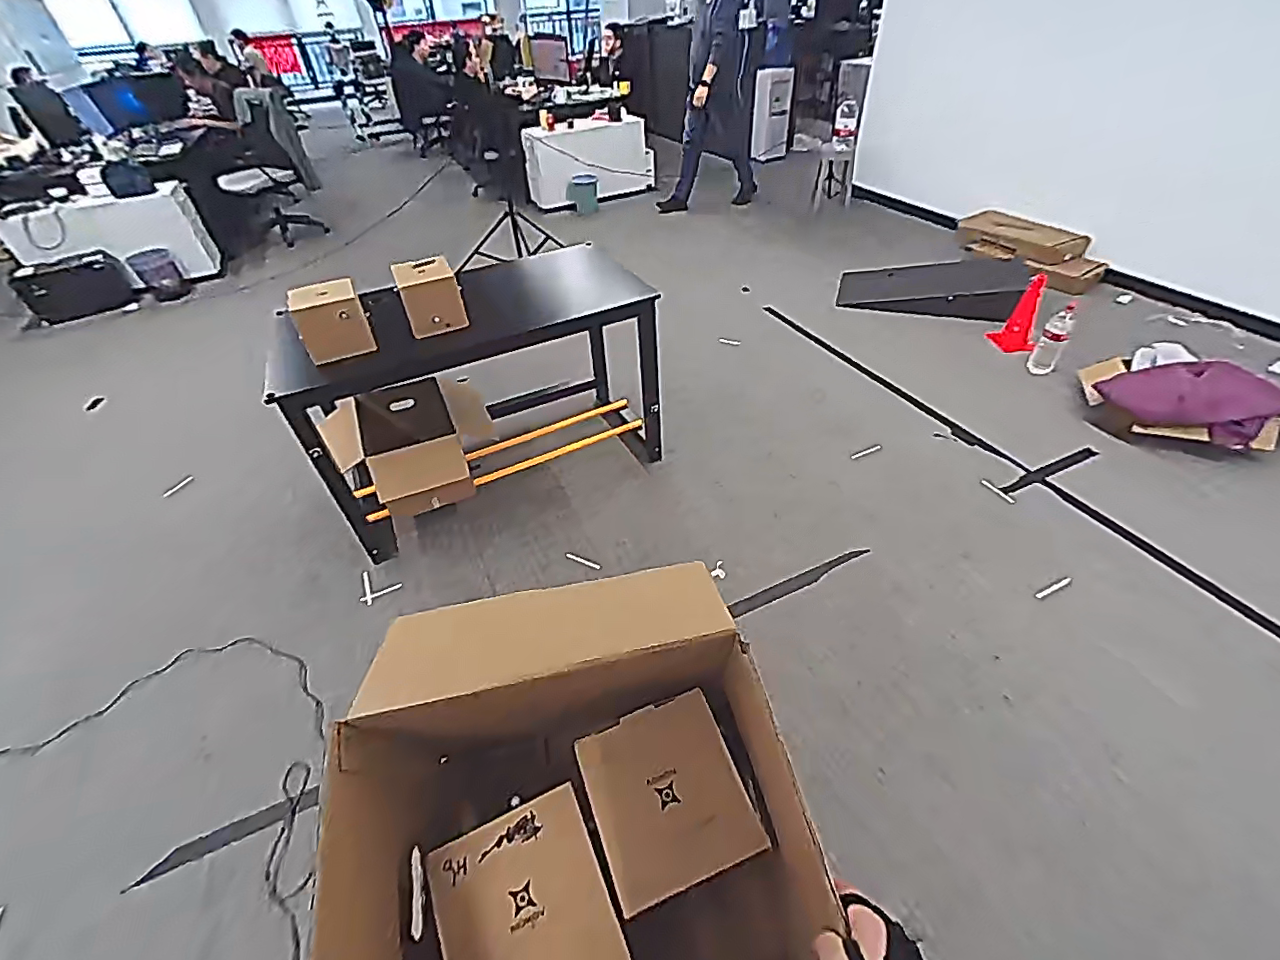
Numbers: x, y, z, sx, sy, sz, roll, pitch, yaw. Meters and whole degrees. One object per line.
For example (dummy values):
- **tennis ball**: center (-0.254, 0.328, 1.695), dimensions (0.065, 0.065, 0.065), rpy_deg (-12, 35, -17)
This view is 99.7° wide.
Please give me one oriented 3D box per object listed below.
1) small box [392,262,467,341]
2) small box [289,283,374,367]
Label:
- **small box**: center (-0.658, -0.558, 1.694), dimensions (0.168, 0.176, 0.179), rpy_deg (-20, 45, -16)
- **small box**: center (-0.909, -0.459, 1.603), dimensions (0.179, 0.176, 0.168), rpy_deg (-21, 44, -18)
